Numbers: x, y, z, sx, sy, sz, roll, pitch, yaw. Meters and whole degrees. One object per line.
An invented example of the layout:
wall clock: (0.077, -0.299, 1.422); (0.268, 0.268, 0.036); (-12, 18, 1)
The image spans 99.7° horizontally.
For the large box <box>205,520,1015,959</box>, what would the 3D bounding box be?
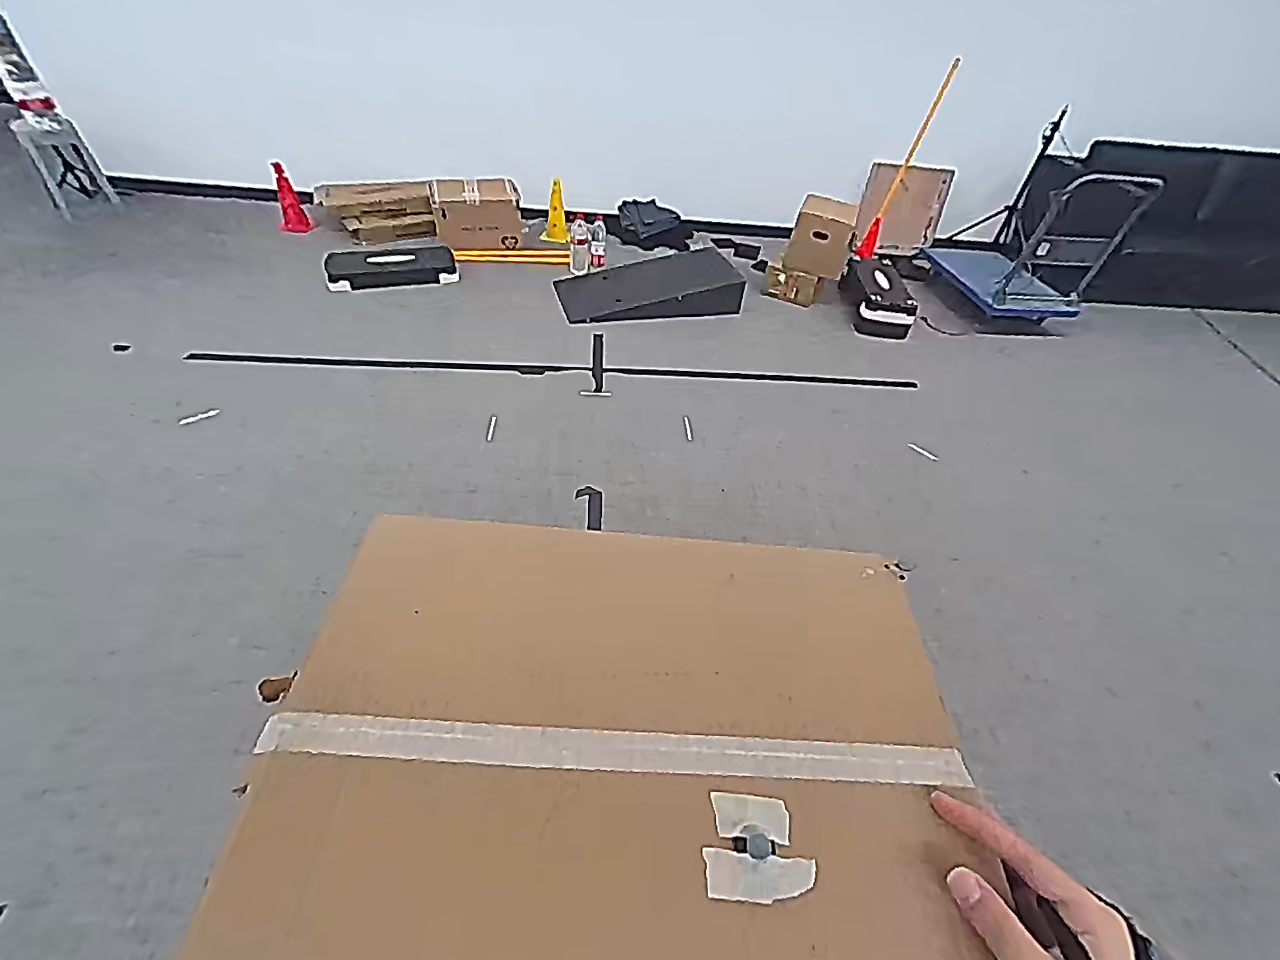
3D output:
large box: (-0.018, 0.259, 0.438); (0.408, 0.320, 0.320); (6, 49, -4)
